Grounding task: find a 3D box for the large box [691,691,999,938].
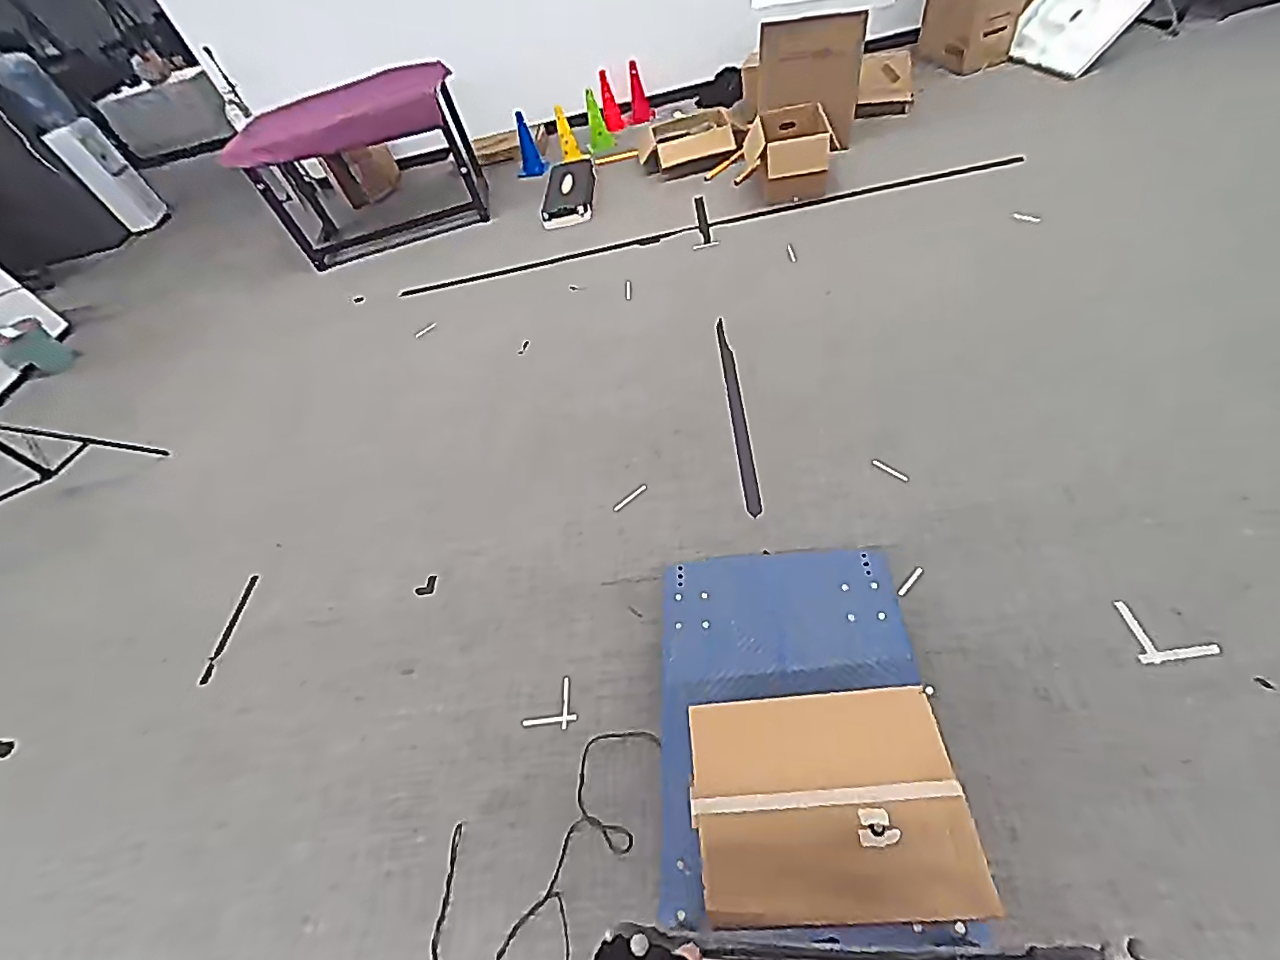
[{"bbox_3d":[0.317,0.601,0.965,0.408,0.320,0.320,-8,51,7],"label":"large box"}]
